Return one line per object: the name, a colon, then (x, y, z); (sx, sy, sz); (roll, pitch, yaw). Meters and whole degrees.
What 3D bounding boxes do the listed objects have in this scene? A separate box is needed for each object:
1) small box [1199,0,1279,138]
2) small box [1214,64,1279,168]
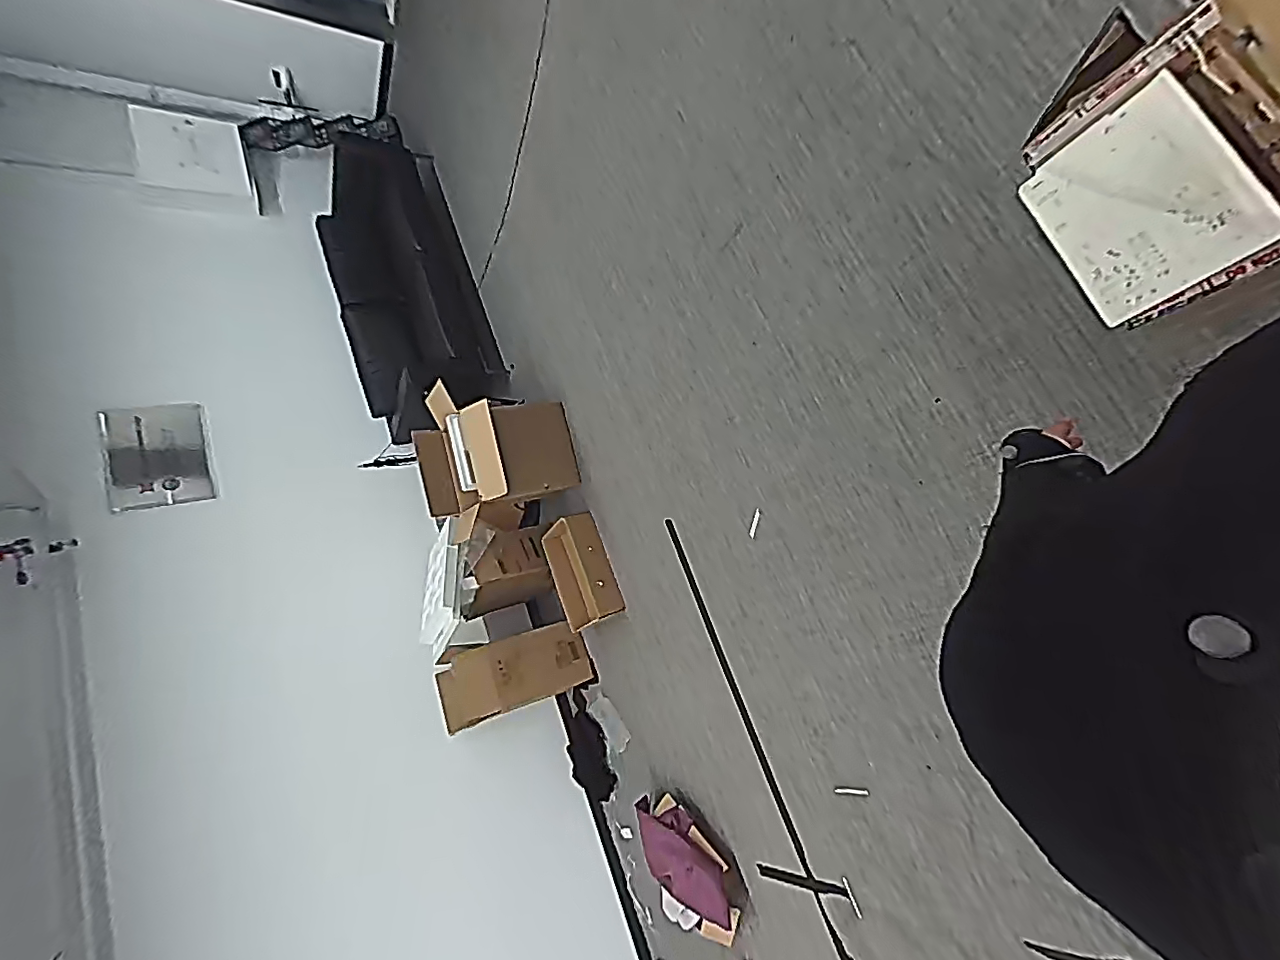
small box: (0.623, -0.389, 0.445); (0.168, 0.176, 0.179); (-37, 71, 51)
small box: (0.751, -0.416, 0.545); (0.179, 0.176, 0.168); (-42, 66, 50)
